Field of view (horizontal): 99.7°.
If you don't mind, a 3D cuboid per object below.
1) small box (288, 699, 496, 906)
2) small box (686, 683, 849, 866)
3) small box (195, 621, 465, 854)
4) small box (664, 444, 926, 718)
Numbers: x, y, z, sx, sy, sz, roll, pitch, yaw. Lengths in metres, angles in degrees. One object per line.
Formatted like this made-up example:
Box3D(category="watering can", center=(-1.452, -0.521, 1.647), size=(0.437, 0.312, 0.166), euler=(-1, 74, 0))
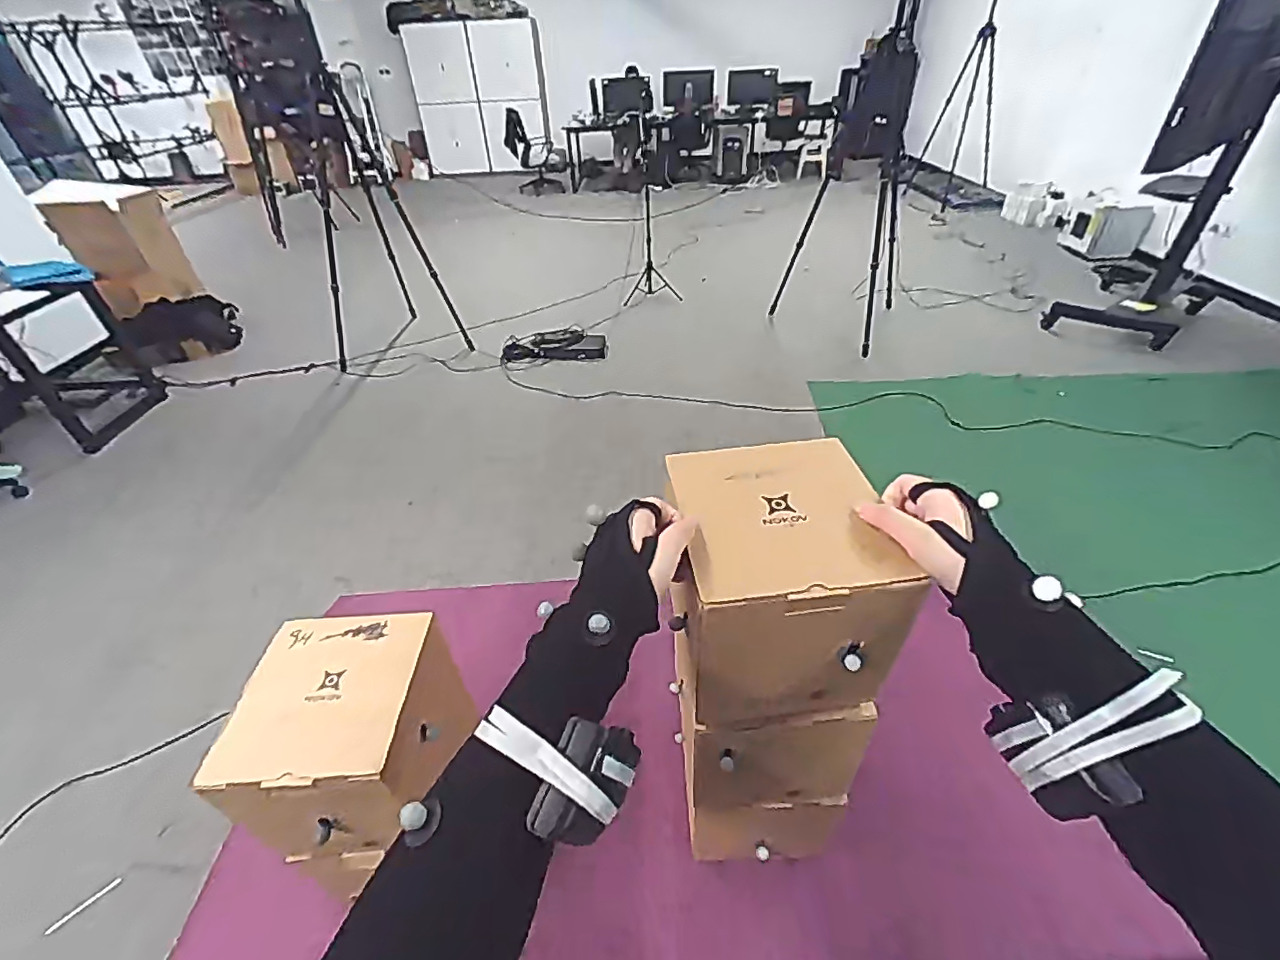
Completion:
Box3D(category="small box", center=(-0.286, 0.404, 0.676), size=(0.168, 0.176, 0.179), euler=(-5, 38, -2))
Box3D(category="small box", center=(0.145, 0.361, 0.691), size=(0.168, 0.176, 0.179), euler=(-3, 39, 2))
Box3D(category="small box", center=(-0.299, 0.275, 0.574), size=(0.168, 0.176, 0.179), euler=(-3, 39, 0))
Box3D(category="small box", center=(0.116, 0.093, 0.483), size=(0.168, 0.176, 0.179), euler=(-6, 39, -2))
